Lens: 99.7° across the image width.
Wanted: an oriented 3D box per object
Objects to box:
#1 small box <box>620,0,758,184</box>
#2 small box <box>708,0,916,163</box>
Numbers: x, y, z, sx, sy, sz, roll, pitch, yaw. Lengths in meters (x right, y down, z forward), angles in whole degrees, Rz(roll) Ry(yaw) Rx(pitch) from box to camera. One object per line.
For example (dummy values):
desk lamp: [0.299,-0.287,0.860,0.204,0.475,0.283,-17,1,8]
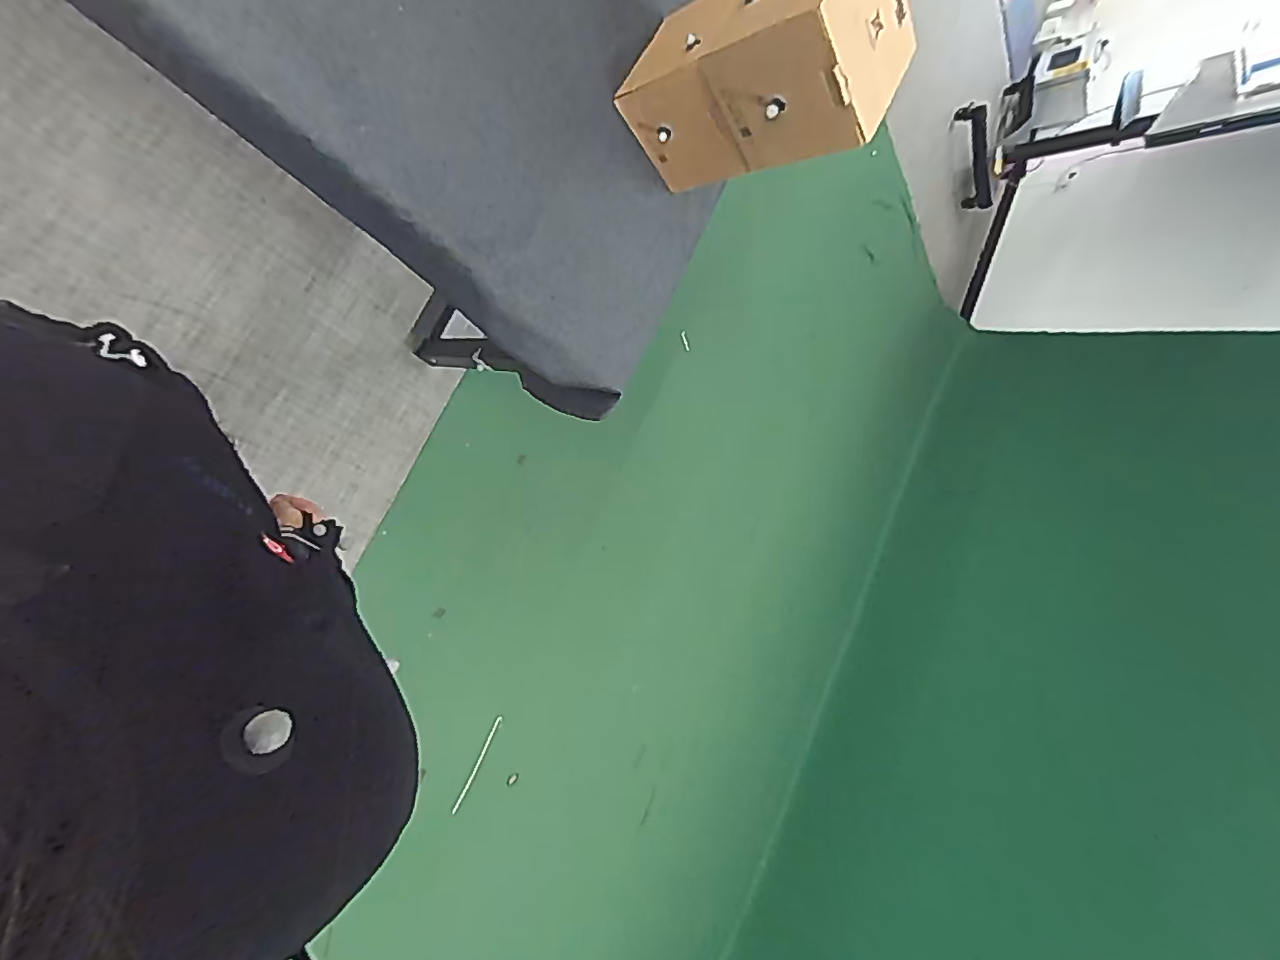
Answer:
small box: [0.101,-0.573,0.792,0.168,0.176,0.179,39,75,-44]
small box: [0.209,-0.534,0.674,0.168,0.176,0.179,39,76,-44]
